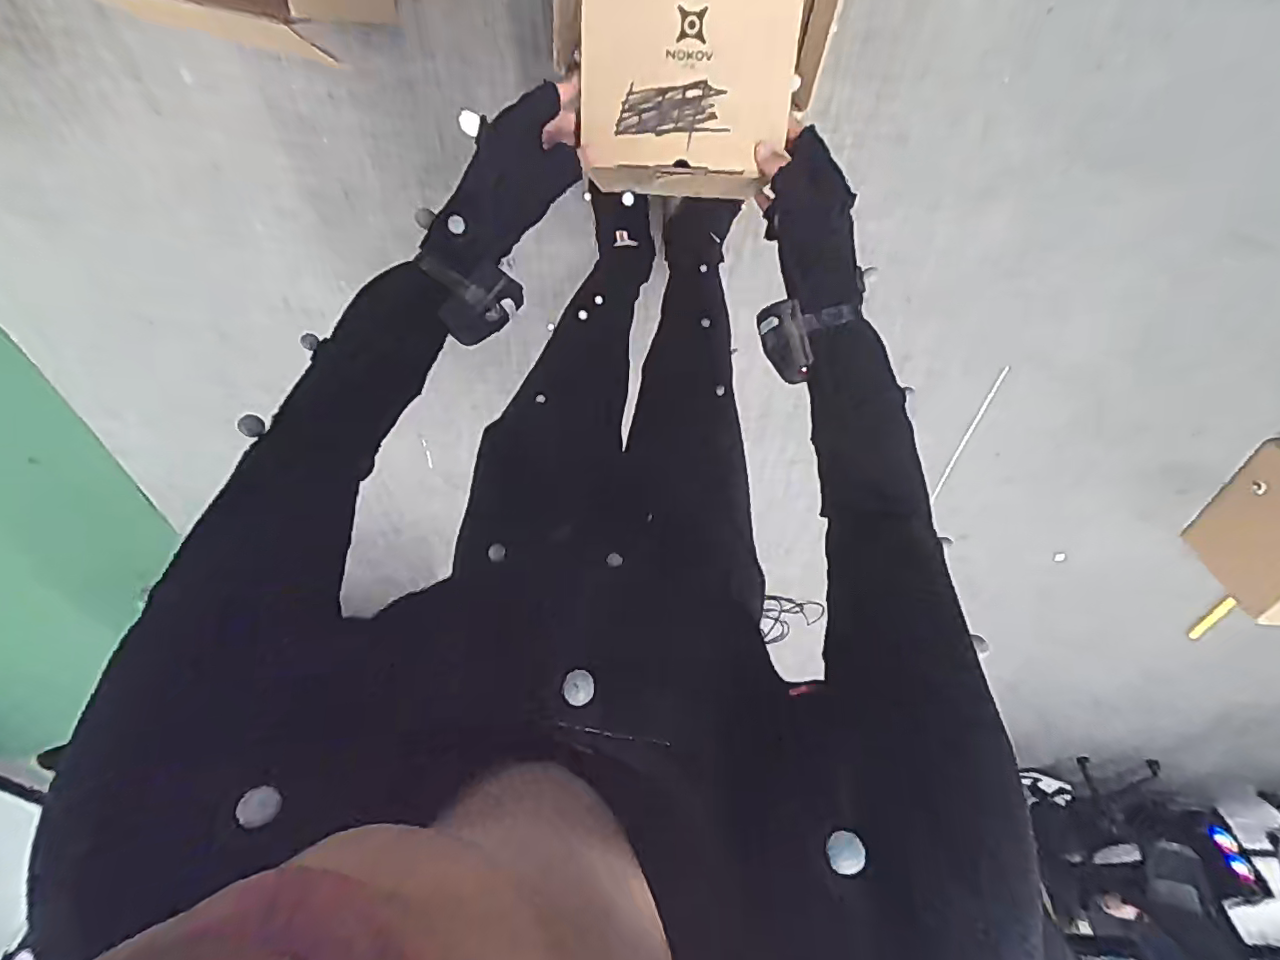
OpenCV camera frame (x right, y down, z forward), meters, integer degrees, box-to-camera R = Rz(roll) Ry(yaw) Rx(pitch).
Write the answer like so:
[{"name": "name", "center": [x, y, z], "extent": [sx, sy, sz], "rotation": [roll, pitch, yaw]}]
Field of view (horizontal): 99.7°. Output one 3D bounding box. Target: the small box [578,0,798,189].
[{"name": "small box", "center": [0.039, -0.371, 0.486], "extent": [0.168, 0.176, 0.179], "rotation": [3, 111, 0]}]
